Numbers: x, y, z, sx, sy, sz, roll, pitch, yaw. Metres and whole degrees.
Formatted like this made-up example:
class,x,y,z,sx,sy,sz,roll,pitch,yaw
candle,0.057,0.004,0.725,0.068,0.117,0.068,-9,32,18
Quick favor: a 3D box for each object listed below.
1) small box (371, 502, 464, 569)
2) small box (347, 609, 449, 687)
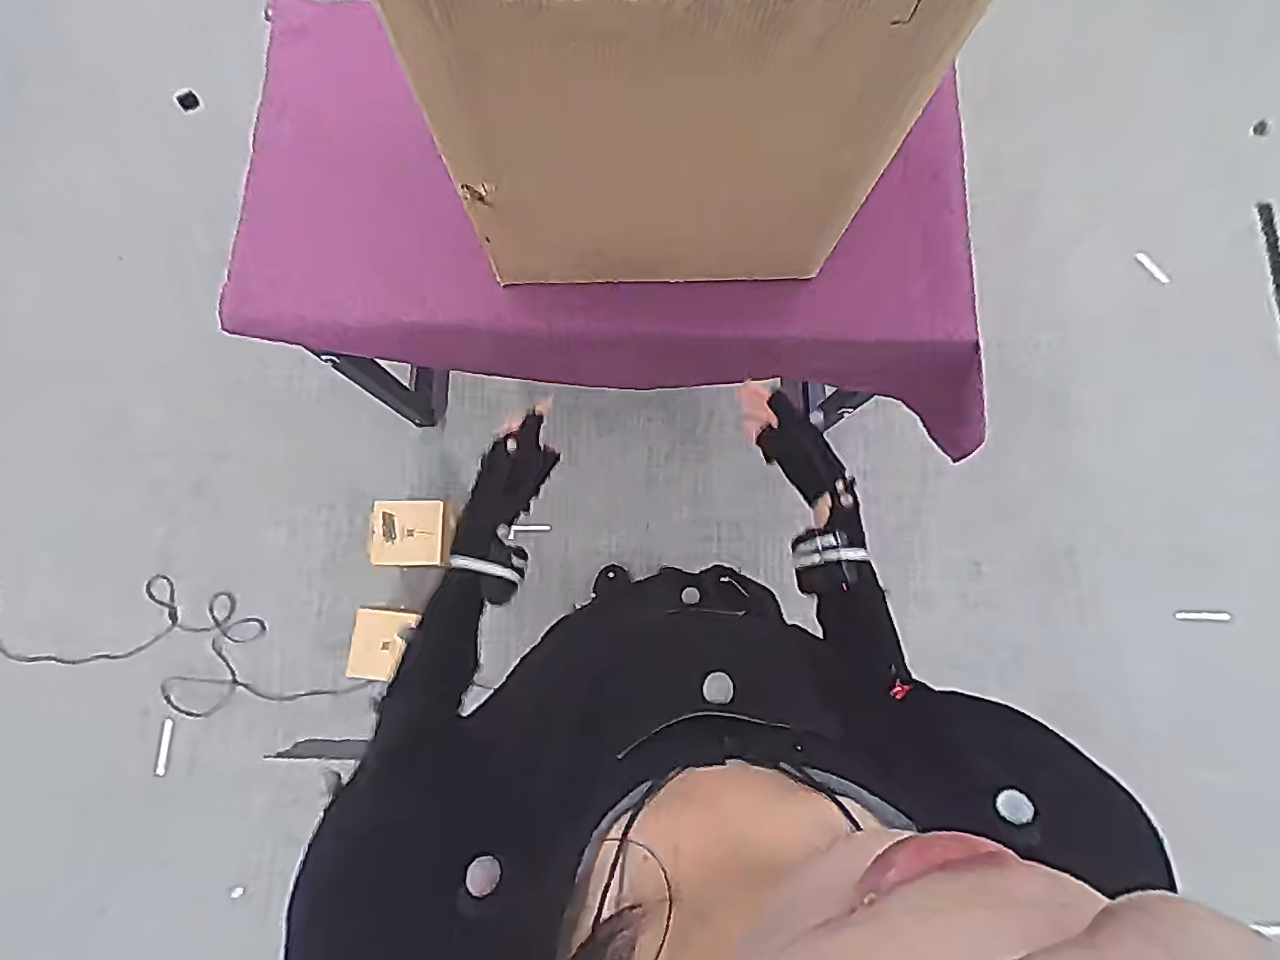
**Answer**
class,x,y,z,sx,sy,sz,roll,pitch,yaw
small box,-0.585,0.151,1.438,0.179,0.176,0.168,0,80,-2
small box,-0.612,0.425,1.393,0.179,0.176,0.168,6,79,1
